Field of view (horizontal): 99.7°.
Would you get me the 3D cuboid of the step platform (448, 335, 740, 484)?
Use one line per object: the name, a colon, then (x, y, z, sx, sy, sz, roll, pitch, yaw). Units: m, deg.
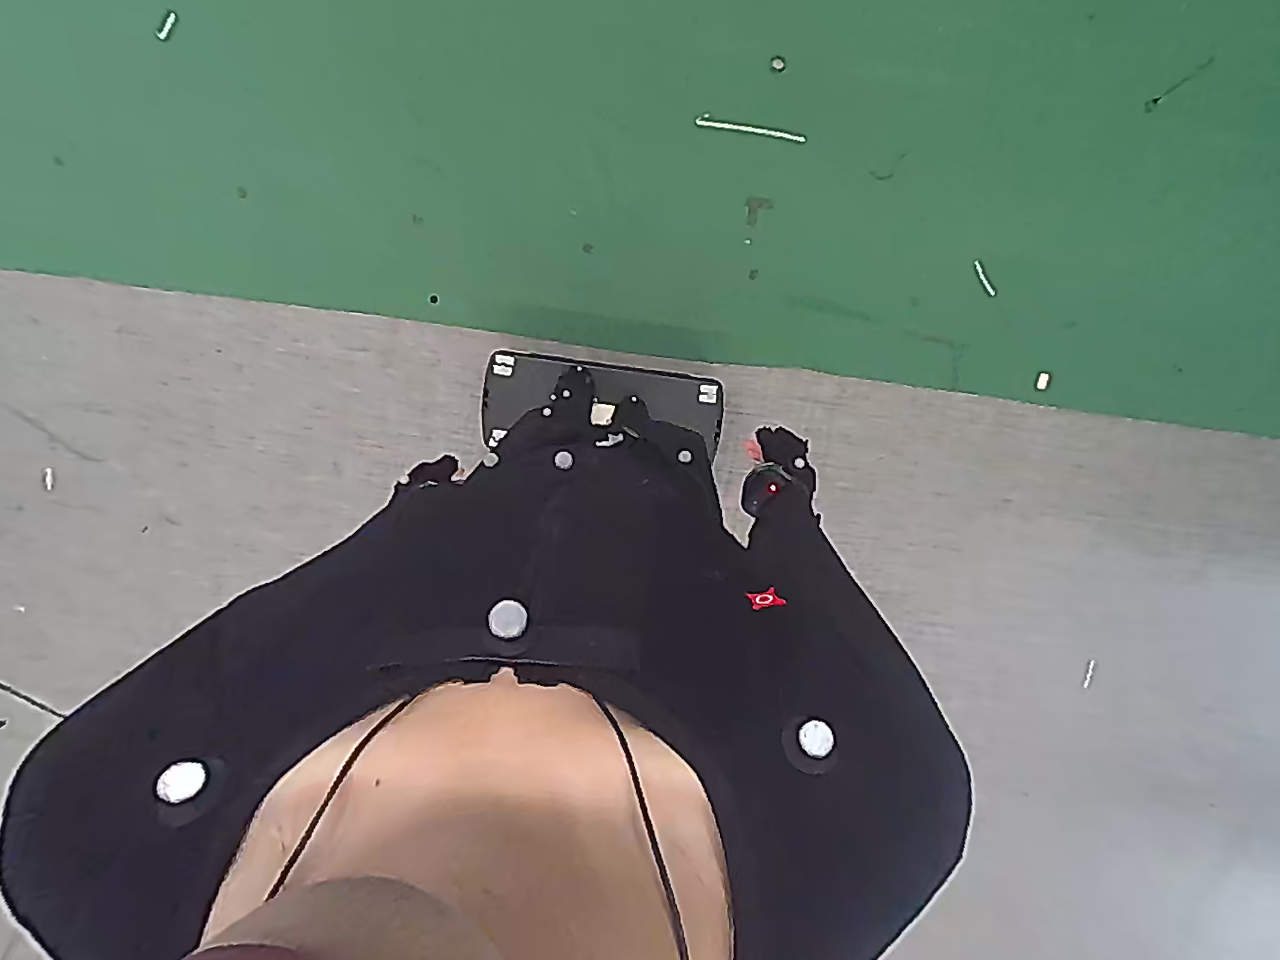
step platform: (-0.109, -0.177, 1.357, 0.684, 0.204, 0.286, 7, 100, -2)
